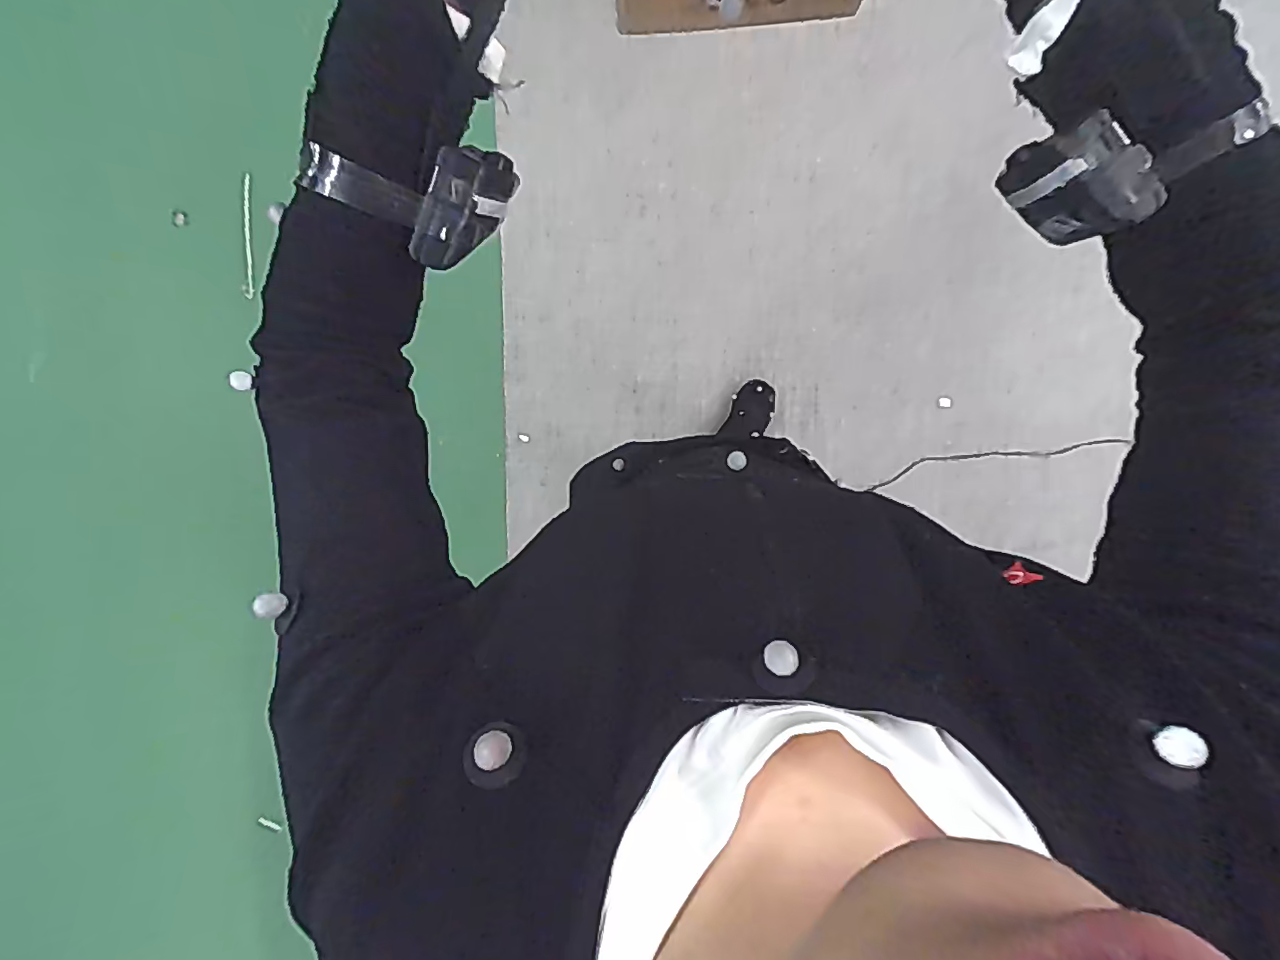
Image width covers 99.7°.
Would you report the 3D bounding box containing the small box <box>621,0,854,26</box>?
[{"bbox_3d":[0.060,-0.392,0.281,0.168,0.176,0.179,-4,93,0],"label":"small box"}]
